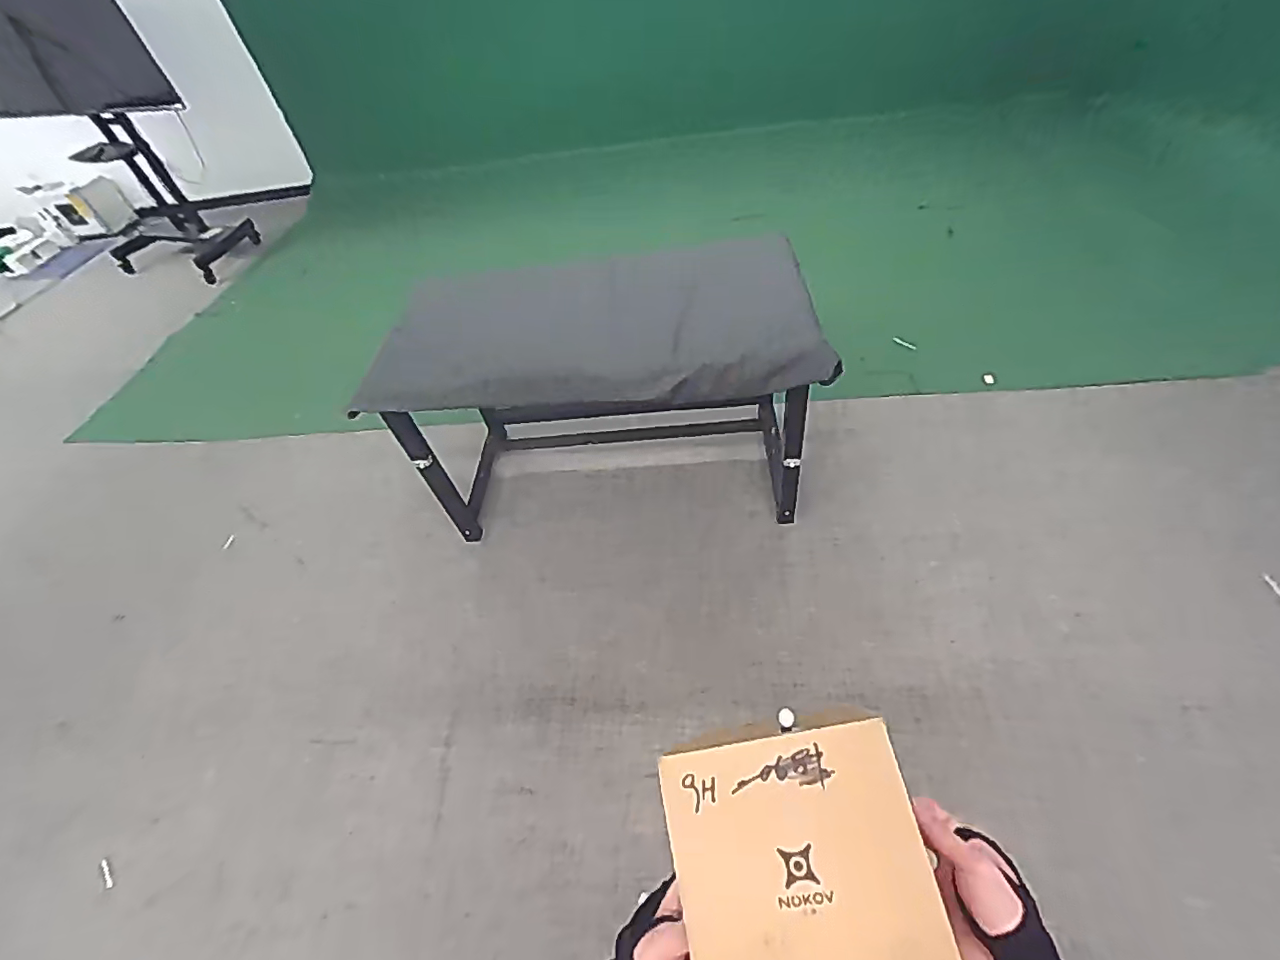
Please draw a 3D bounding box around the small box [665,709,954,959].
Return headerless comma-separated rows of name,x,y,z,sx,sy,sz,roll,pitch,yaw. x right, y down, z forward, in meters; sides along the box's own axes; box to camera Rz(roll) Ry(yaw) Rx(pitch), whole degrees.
small box,0.129,0.297,0.438,0.168,0.176,0.179,-15,69,9
